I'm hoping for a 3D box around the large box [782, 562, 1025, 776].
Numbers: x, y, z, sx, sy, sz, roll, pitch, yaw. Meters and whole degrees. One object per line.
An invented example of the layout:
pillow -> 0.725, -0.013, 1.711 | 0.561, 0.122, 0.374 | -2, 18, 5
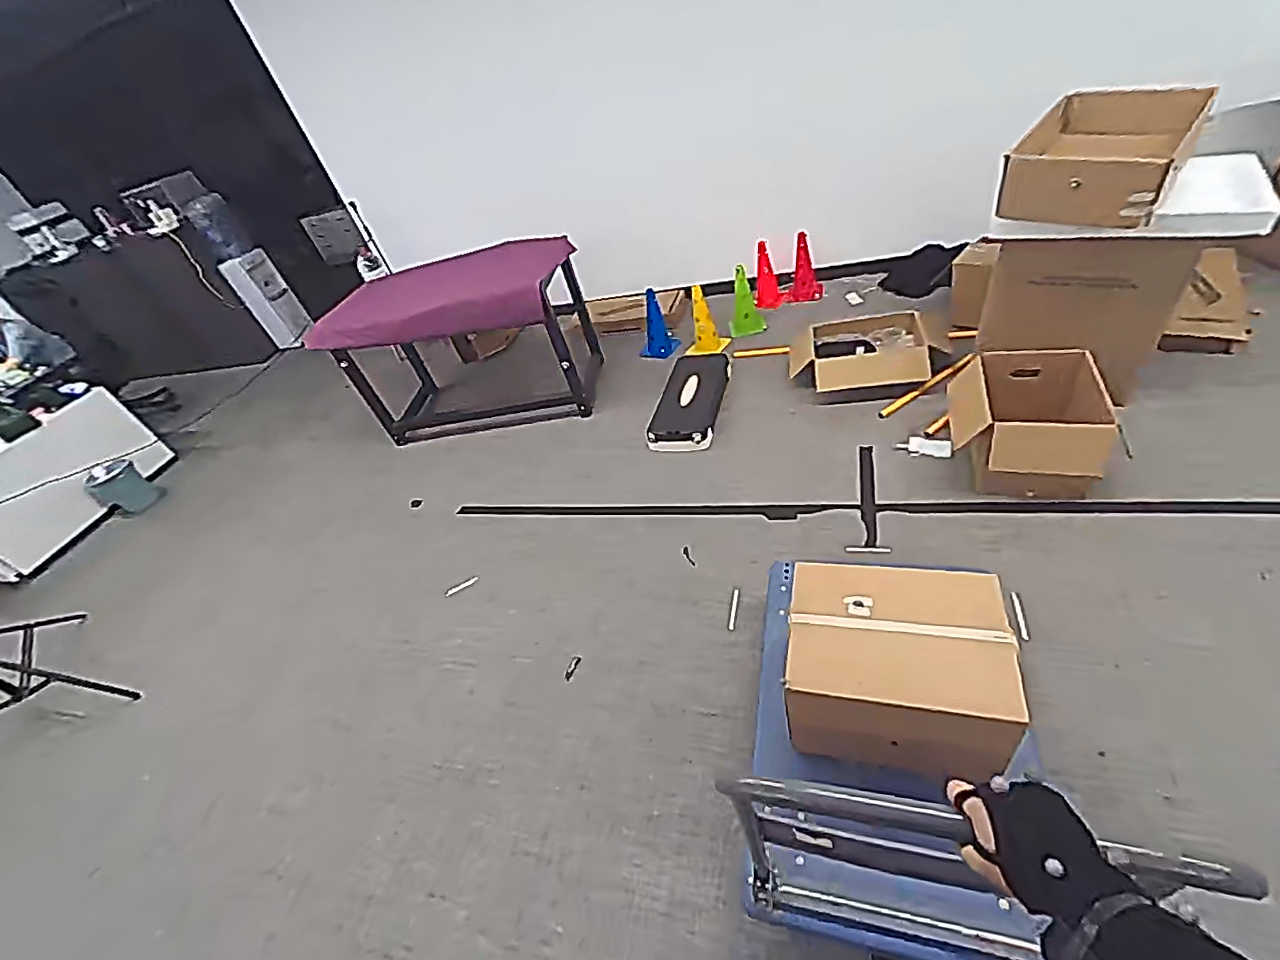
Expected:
large box -> 0.537, 0.397, 1.170 | 0.408, 0.320, 0.320 | 0, 43, 22
